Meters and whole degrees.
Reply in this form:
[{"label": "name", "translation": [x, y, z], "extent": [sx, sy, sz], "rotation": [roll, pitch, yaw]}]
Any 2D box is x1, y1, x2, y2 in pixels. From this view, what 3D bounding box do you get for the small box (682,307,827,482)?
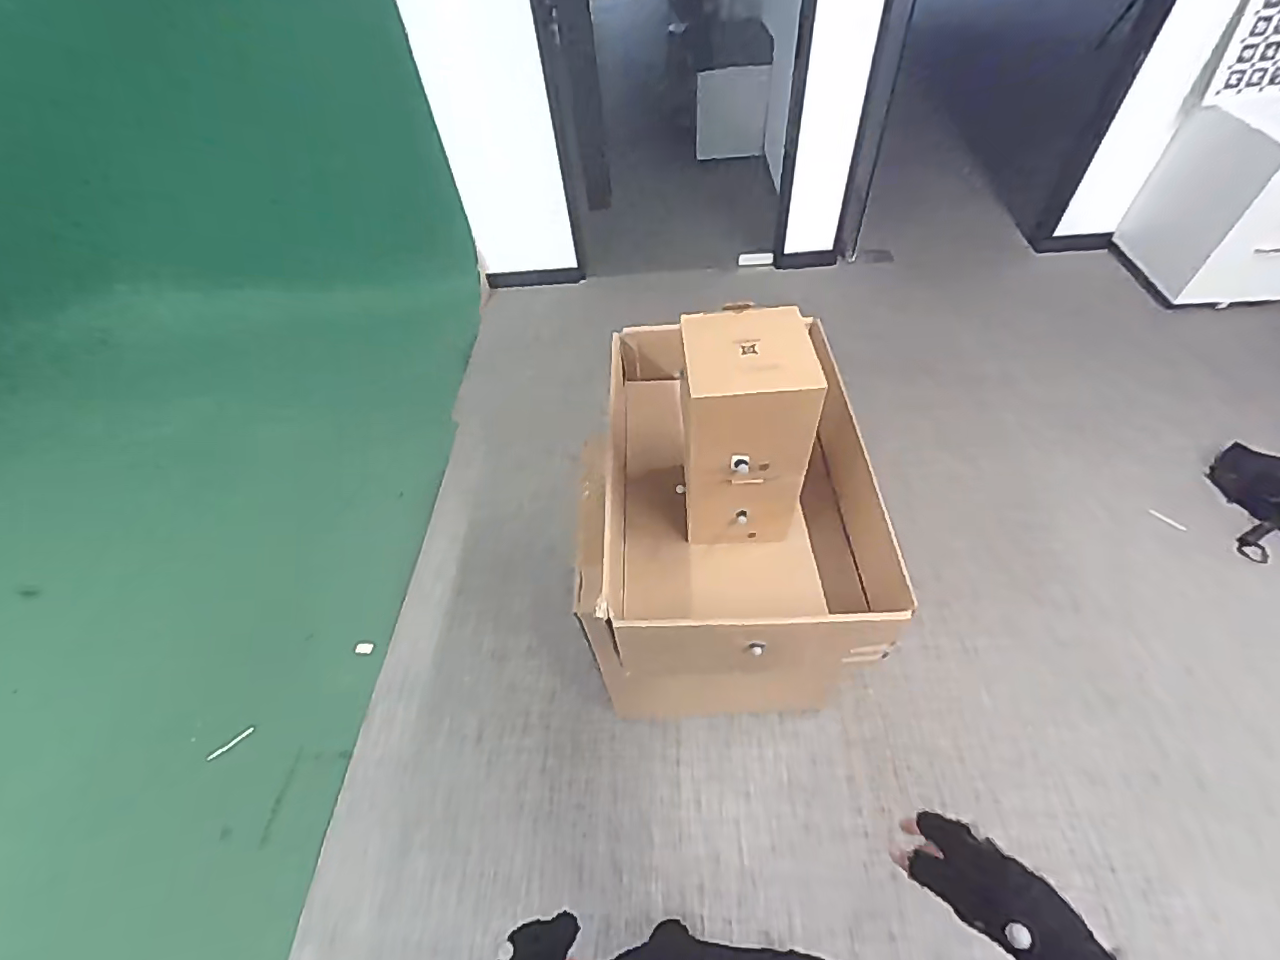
[{"label": "small box", "translation": [0.147, -0.119, 0.765], "extent": [0.168, 0.176, 0.179], "rotation": [-5, 51, 2]}]
